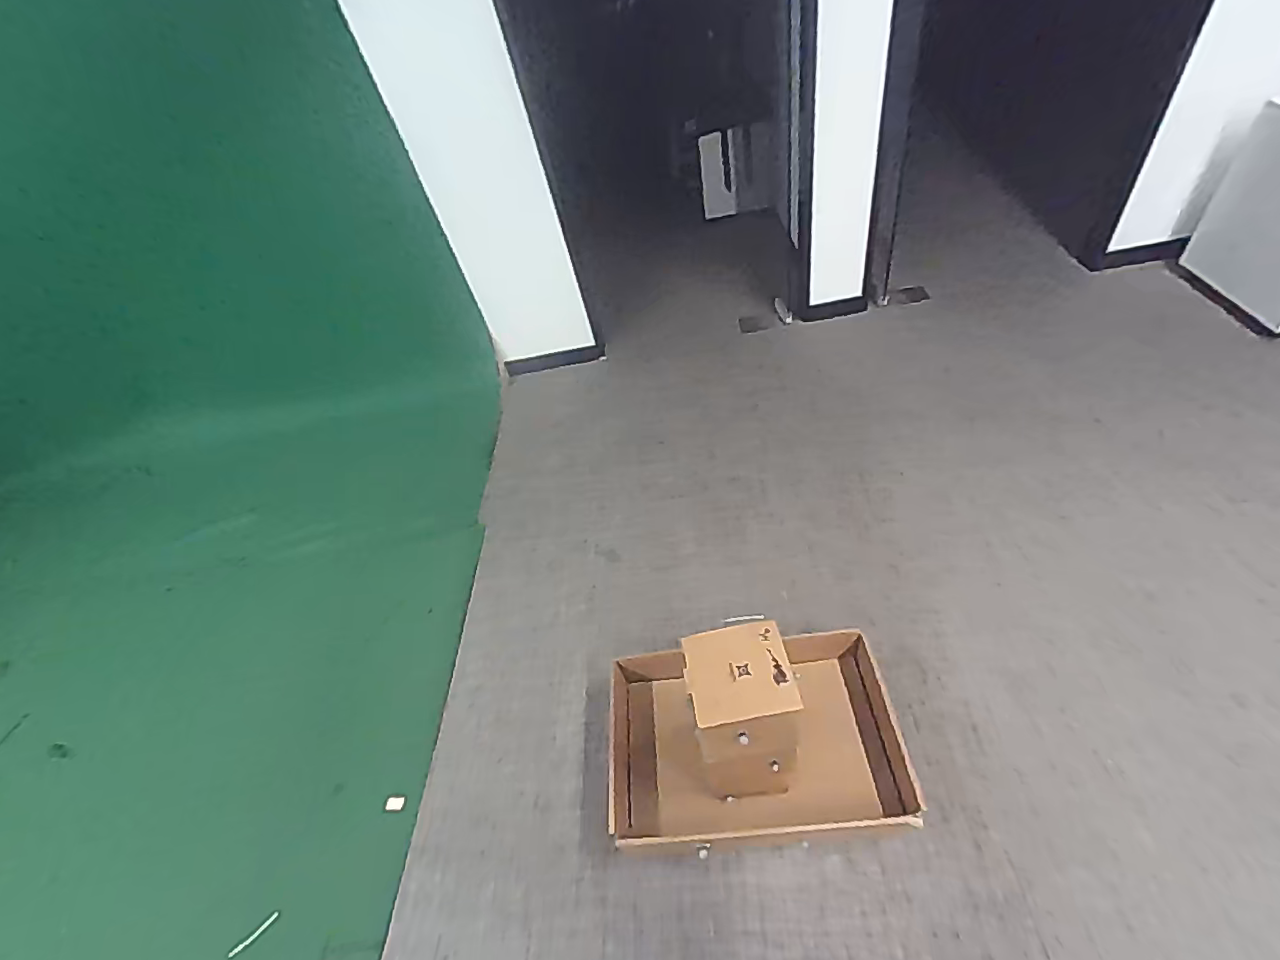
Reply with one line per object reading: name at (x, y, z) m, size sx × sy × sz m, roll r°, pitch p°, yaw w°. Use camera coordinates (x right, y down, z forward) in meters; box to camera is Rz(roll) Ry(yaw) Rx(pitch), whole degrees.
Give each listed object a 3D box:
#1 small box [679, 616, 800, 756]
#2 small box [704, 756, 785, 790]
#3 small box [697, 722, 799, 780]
small box at (0.180, 0.377, 0.981) m, size 0.179 × 0.176 × 0.168 m, roll -13°, pitch 43°, yaw 1°
small box at (0.231, 0.586, 1.222) m, size 0.168 × 0.176 × 0.179 m, roll -9°, pitch 46°, yaw 6°
small box at (0.204, 0.477, 1.083) m, size 0.179 × 0.176 × 0.168 m, roll -13°, pitch 45°, yaw 2°
